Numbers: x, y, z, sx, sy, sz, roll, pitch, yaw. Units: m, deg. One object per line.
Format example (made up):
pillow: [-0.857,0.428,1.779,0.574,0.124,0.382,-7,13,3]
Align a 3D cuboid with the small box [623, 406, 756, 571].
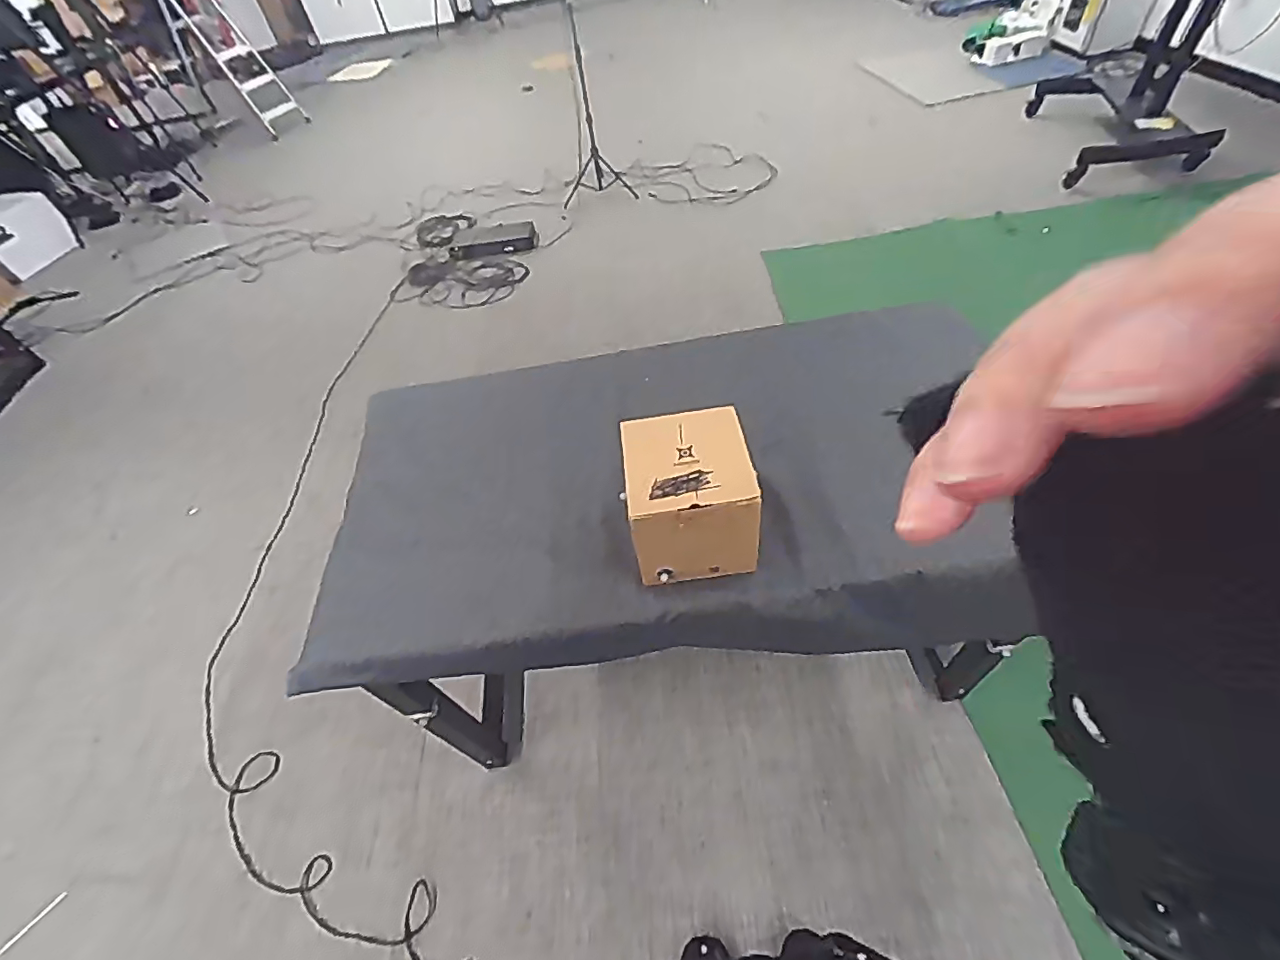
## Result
small box: [0.071,0.020,0.793,0.168,0.176,0.179,-8,48,2]
